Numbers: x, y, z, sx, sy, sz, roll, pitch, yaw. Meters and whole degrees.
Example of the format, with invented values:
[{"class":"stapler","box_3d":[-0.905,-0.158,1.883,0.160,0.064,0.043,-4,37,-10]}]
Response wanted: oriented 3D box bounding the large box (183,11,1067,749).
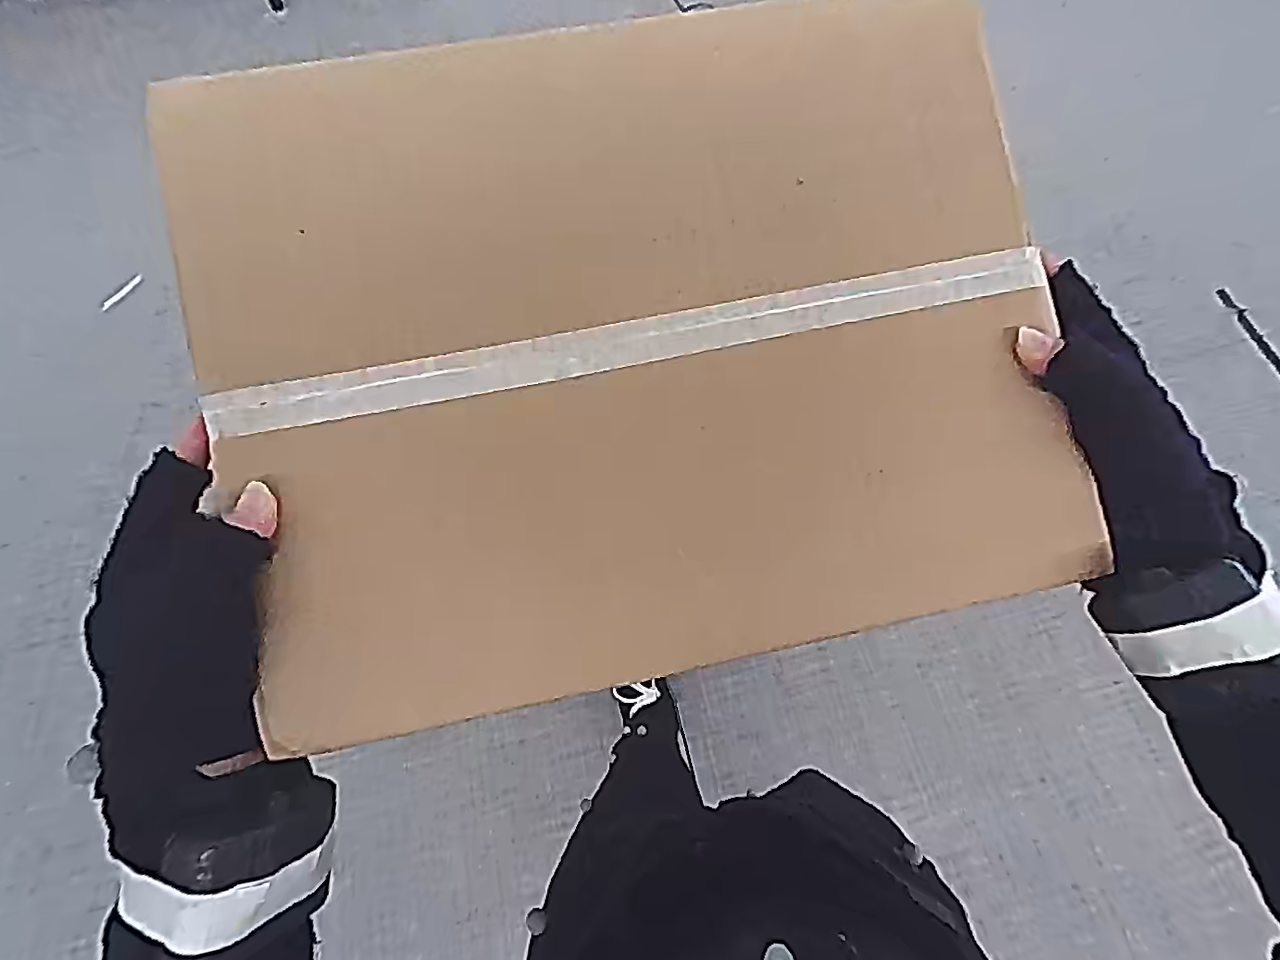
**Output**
[{"class":"large box","box_3d":[-0.007,-0.057,0.419,0.408,0.320,0.320,-11,87,-4]}]
